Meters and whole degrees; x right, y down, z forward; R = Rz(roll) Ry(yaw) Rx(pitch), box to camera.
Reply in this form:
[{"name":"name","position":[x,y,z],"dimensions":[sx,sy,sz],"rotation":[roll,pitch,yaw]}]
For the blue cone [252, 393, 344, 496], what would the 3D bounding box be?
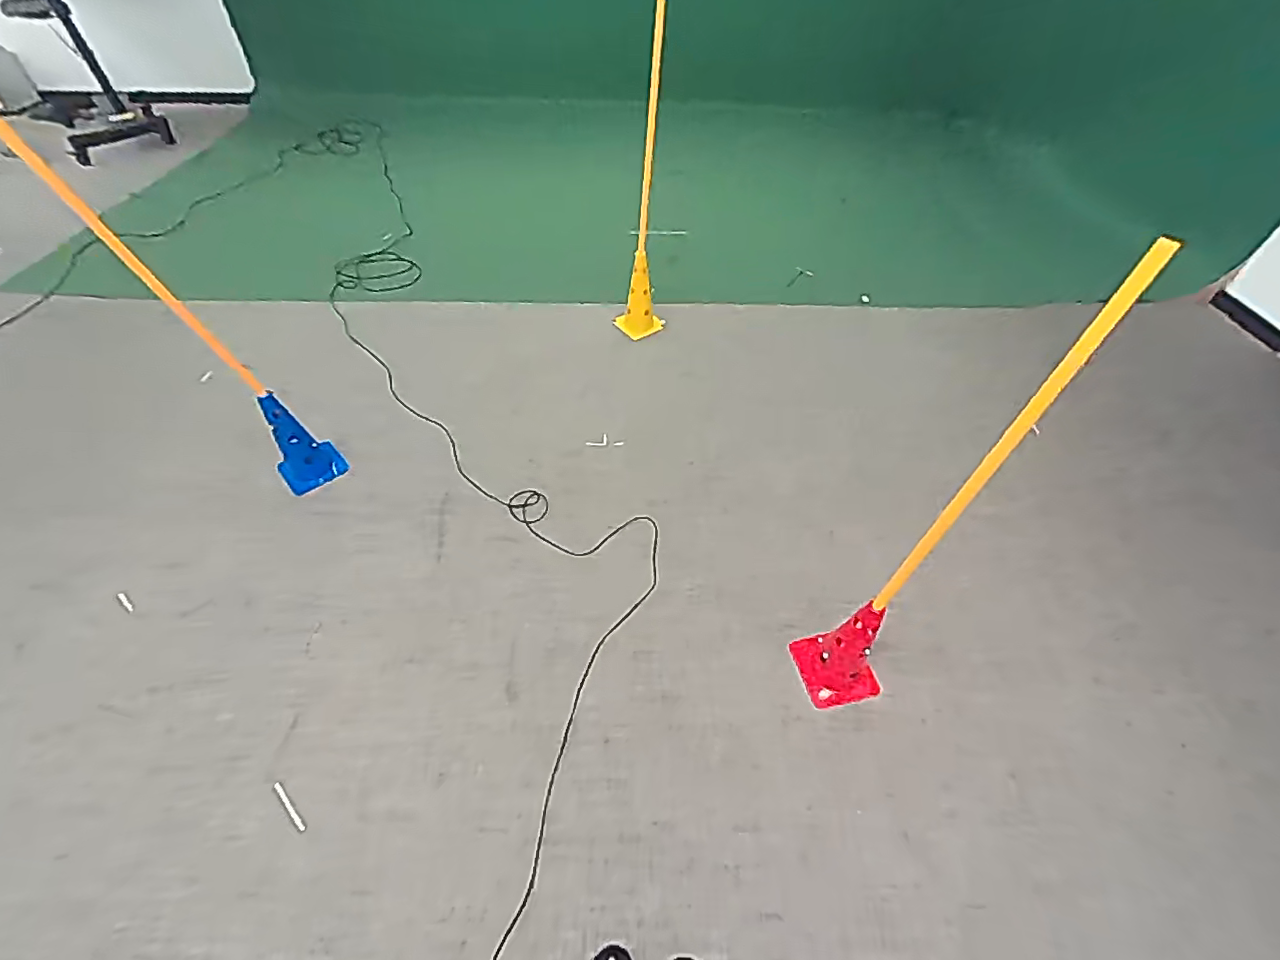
[{"name":"blue cone","position":[-1.189,-0.137,1.827],"dimensions":[0.192,0.380,0.193],"rotation":[38,60,26]}]
